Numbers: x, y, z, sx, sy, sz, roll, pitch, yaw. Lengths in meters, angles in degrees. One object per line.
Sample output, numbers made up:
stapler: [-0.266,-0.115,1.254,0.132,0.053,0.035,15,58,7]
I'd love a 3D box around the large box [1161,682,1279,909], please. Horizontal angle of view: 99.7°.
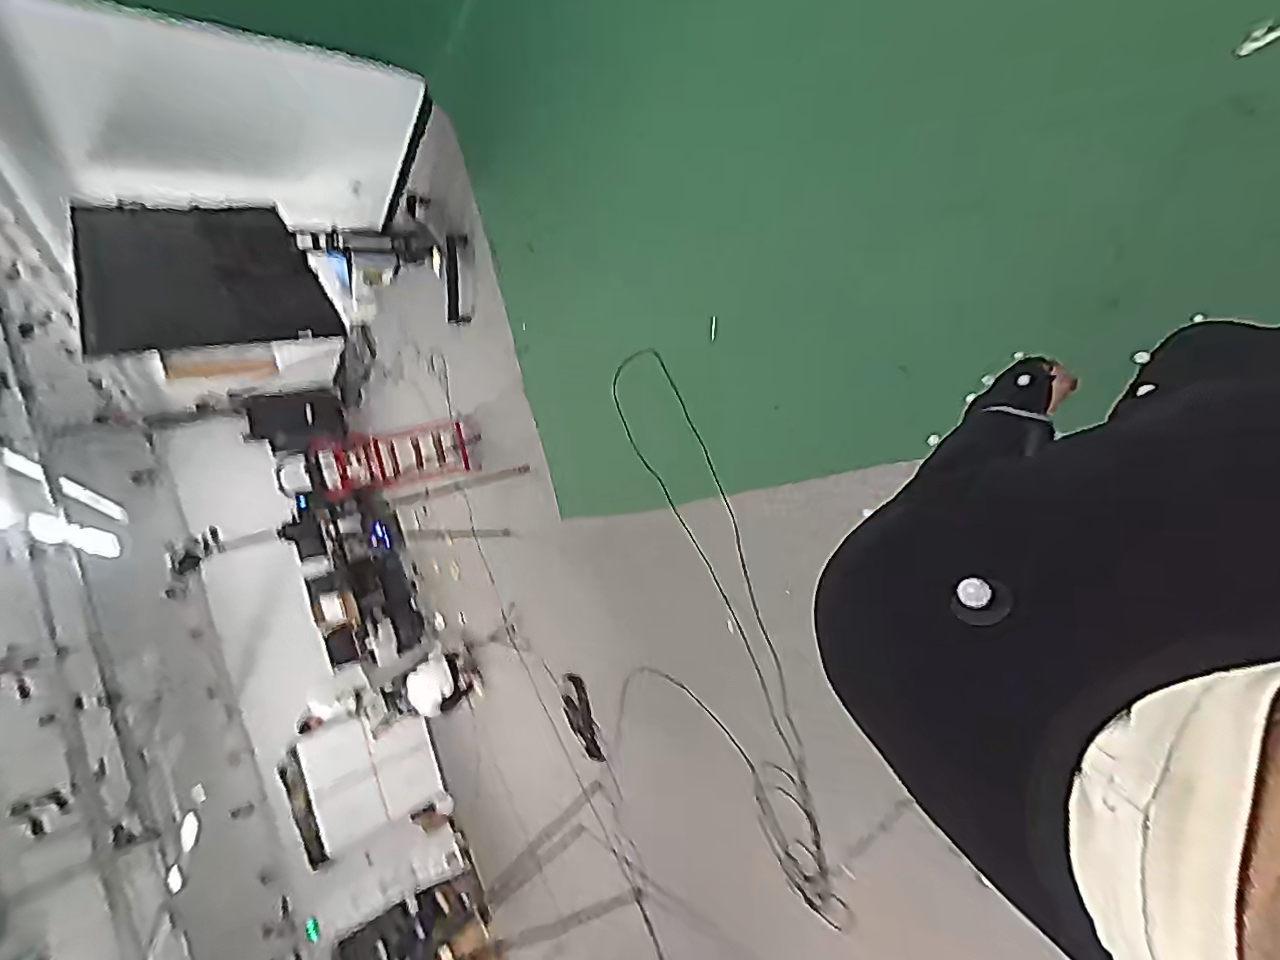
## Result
large box: [1.335,0.618,1.038,0.408,0.320,0.320,-15,90,54]
